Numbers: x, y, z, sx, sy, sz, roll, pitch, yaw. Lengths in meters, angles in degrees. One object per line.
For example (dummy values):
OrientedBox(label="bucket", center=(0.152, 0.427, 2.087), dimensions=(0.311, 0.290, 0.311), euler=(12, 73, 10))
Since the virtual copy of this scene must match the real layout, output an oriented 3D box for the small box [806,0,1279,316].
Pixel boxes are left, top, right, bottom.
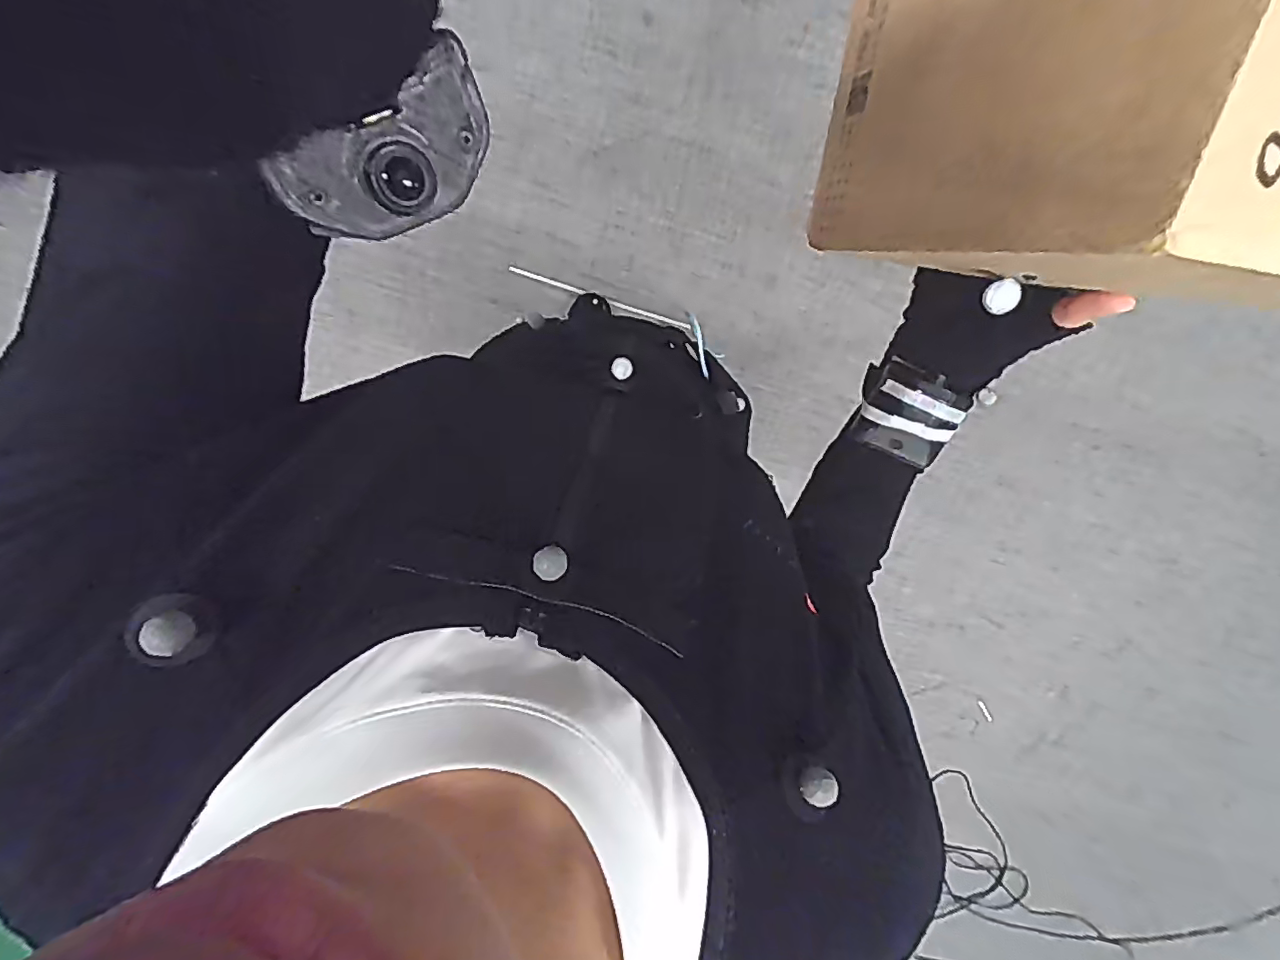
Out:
OrientedBox(label="small box", center=(0.192, -0.156, 0.187), dimensions=(0.179, 0.176, 0.168), euler=(3, 114, -16))
